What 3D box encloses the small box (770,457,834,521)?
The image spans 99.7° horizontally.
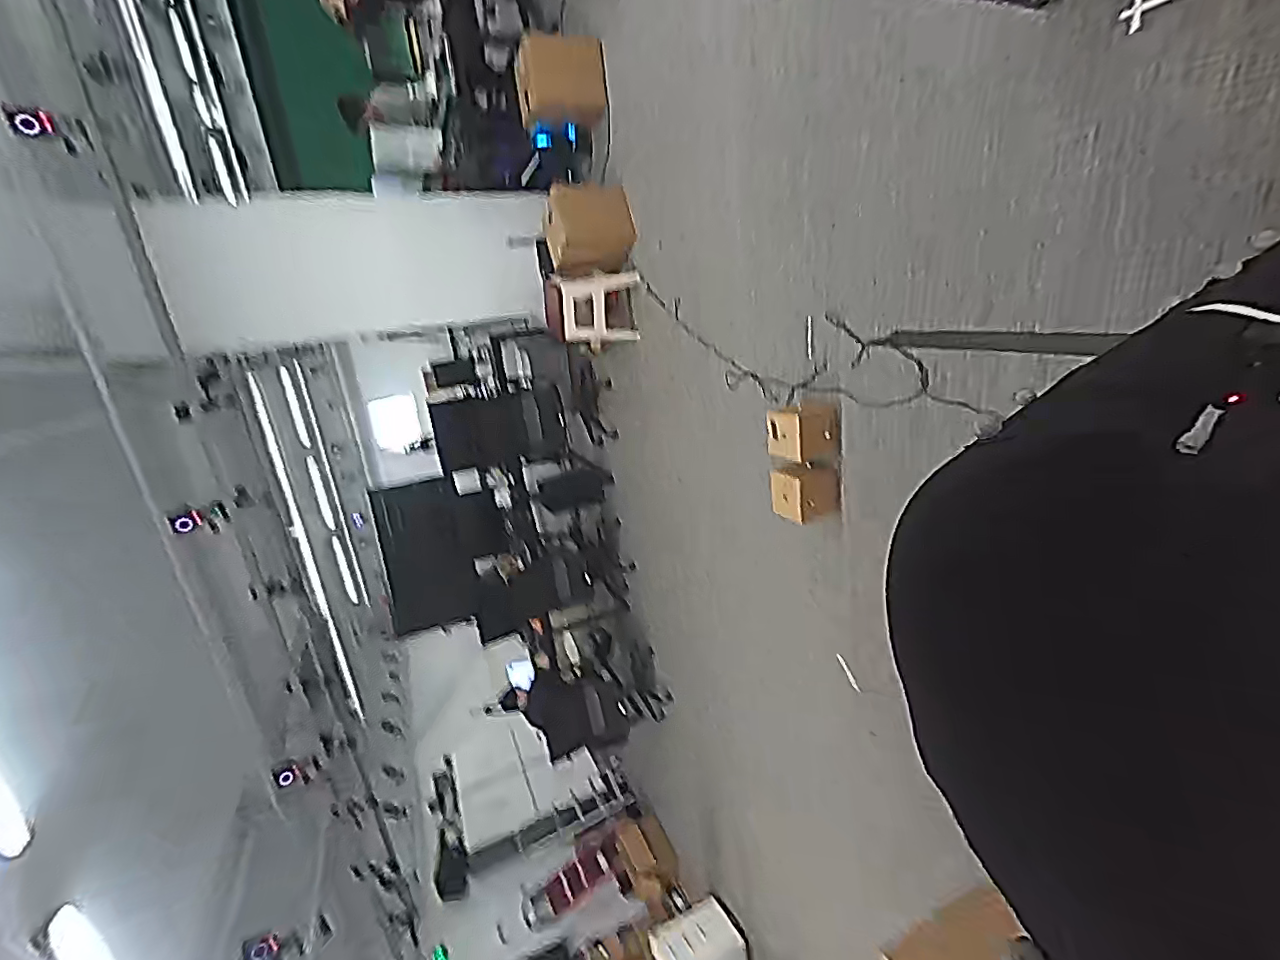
[{"bbox_3d":[0.608,0.030,2.025,0.168,0.176,0.179,30,132,60],"label":"small box"}]

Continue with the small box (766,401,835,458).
[{"bbox_3d":[0.581,-0.189,1.957,0.179,0.176,0.168,27,128,61],"label":"small box"}]
